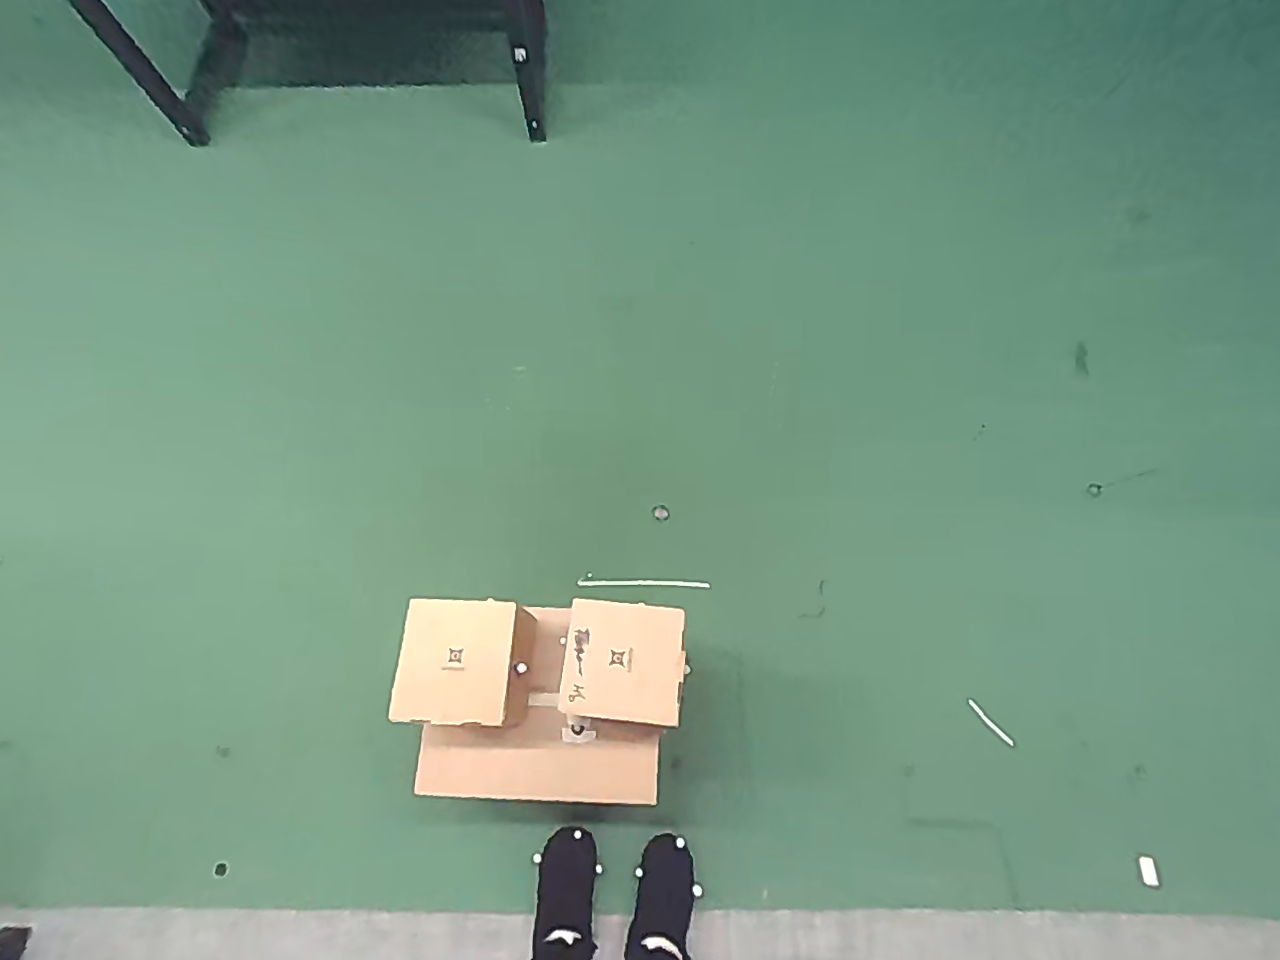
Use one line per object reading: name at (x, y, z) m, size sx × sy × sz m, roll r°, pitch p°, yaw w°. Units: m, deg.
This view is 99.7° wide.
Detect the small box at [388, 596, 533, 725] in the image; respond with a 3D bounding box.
small box at (-0.271, 0.290, 0.864) m, size 0.168 × 0.176 × 0.179 m, roll 2°, pitch 69°, yaw 1°

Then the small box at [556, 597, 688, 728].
small box at (-0.022, 0.289, 0.858) m, size 0.179 × 0.176 × 0.168 m, roll 6°, pitch 69°, yaw 3°

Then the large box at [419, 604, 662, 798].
large box at (-0.164, 0.425, 1.071) m, size 0.408 × 0.320 × 0.320 m, roll 1°, pitch 70°, yaw 1°
